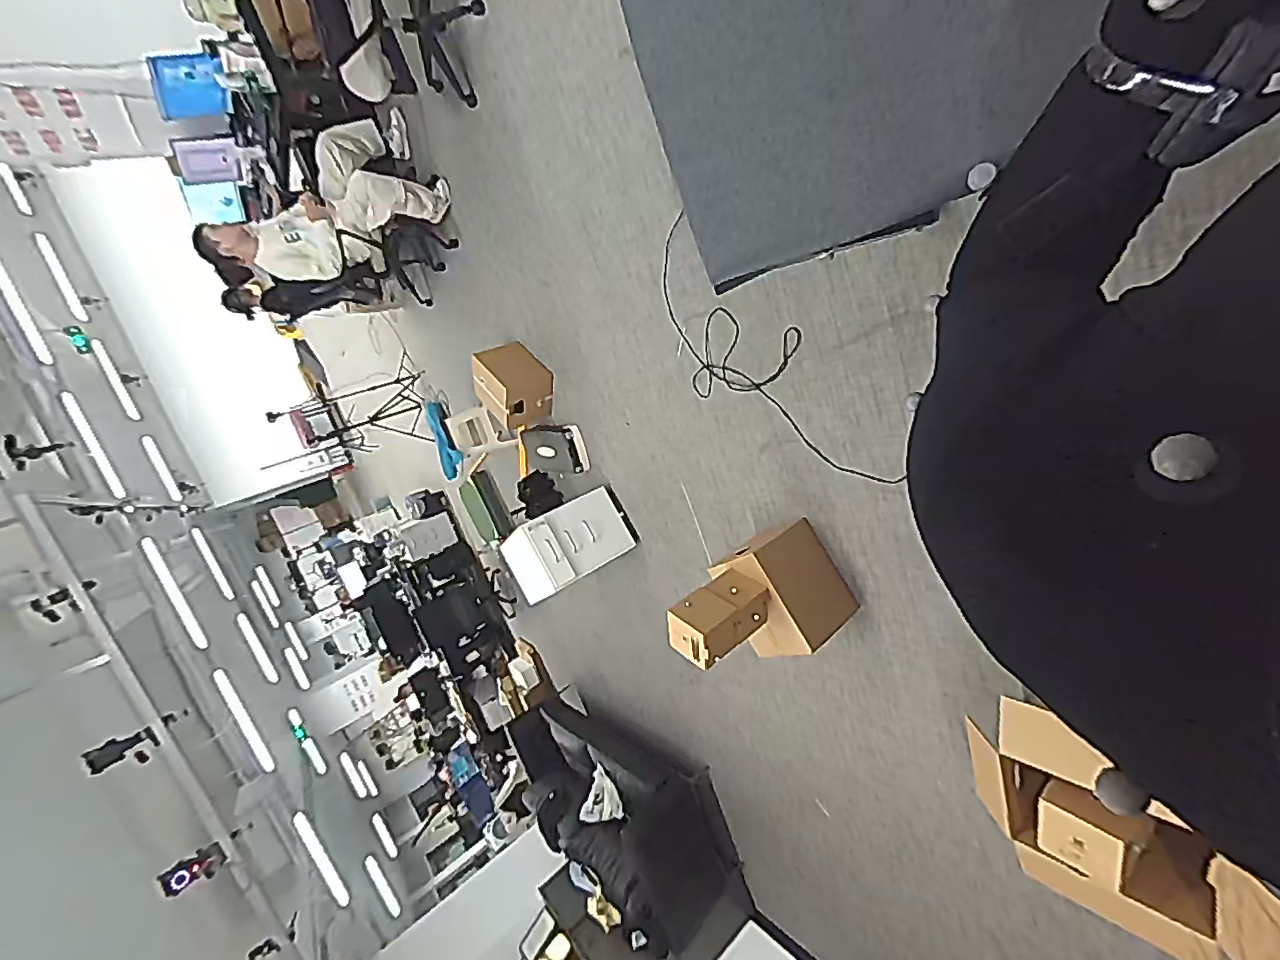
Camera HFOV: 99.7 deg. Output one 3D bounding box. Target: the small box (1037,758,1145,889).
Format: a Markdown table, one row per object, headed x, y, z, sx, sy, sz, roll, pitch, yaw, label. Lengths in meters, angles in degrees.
| x | y | z | sx | sy | sz | roll | pitch | yaw | label |
| --- | --- | --- | --- | --- | --- | --- | --- | --- | --- |
| 1.120 | 0.840 | 1.344 | 0.168 | 0.176 | 0.179 | 15 | 124 | 55 | small box |

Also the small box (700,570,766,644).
| x | y | z | sx | sy | sz | roll | pitch | yaw | label |
| --- | --- | --- | --- | --- | --- | --- | --- | --- | --- |
| 0.340 | 0.452 | 1.959 | 0.179 | 0.176 | 0.168 | 24 | 130 | 43 | small box |
